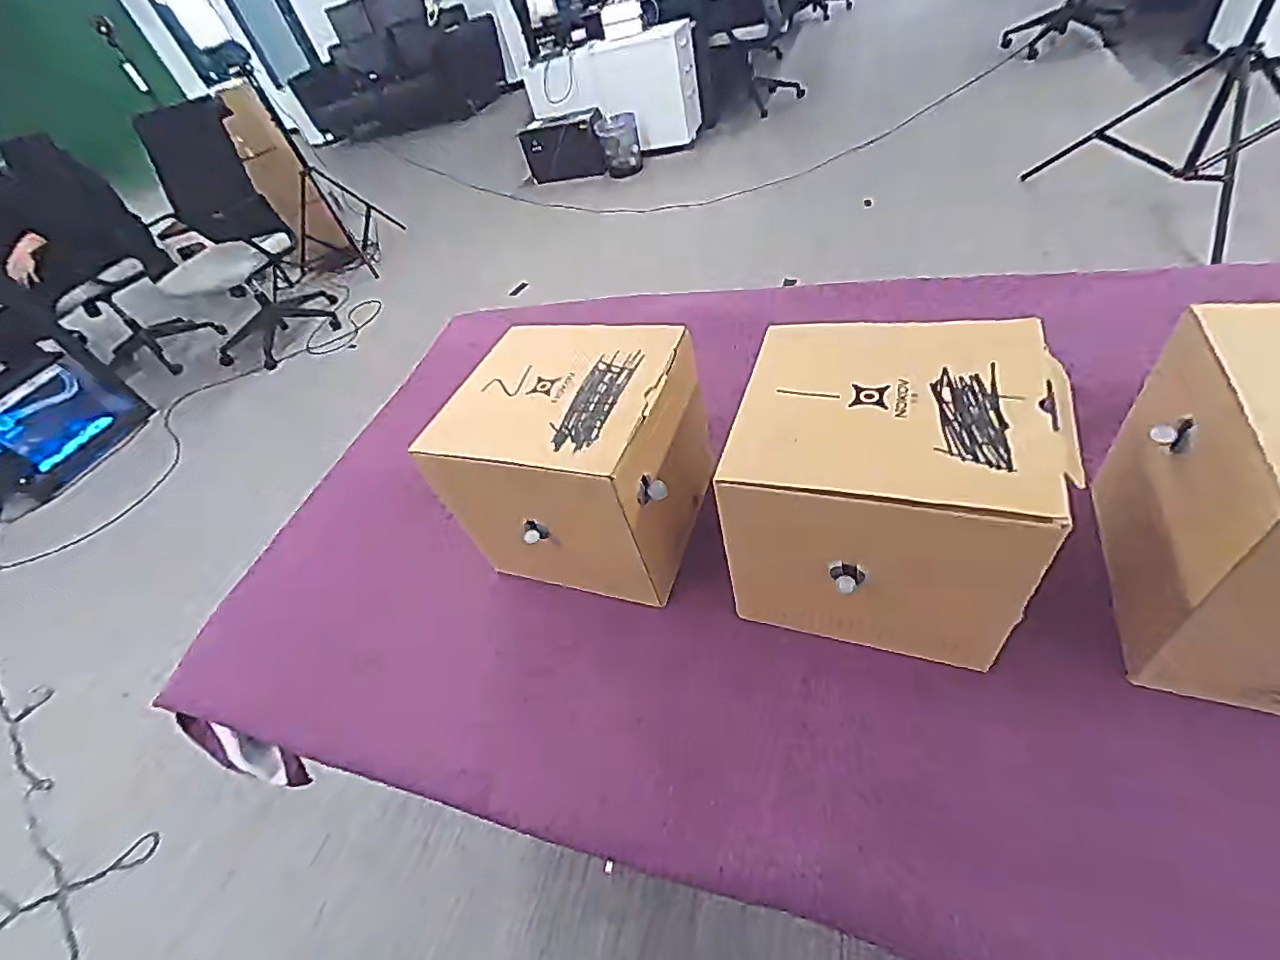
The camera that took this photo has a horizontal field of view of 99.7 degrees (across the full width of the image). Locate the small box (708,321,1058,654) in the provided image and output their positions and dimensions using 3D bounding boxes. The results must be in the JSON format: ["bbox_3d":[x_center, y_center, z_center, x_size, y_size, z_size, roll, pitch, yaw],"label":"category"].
[{"bbox_3d":[0.165,0.005,0.391,0.179,0.176,0.168,6,50,24],"label":"small box"}]
